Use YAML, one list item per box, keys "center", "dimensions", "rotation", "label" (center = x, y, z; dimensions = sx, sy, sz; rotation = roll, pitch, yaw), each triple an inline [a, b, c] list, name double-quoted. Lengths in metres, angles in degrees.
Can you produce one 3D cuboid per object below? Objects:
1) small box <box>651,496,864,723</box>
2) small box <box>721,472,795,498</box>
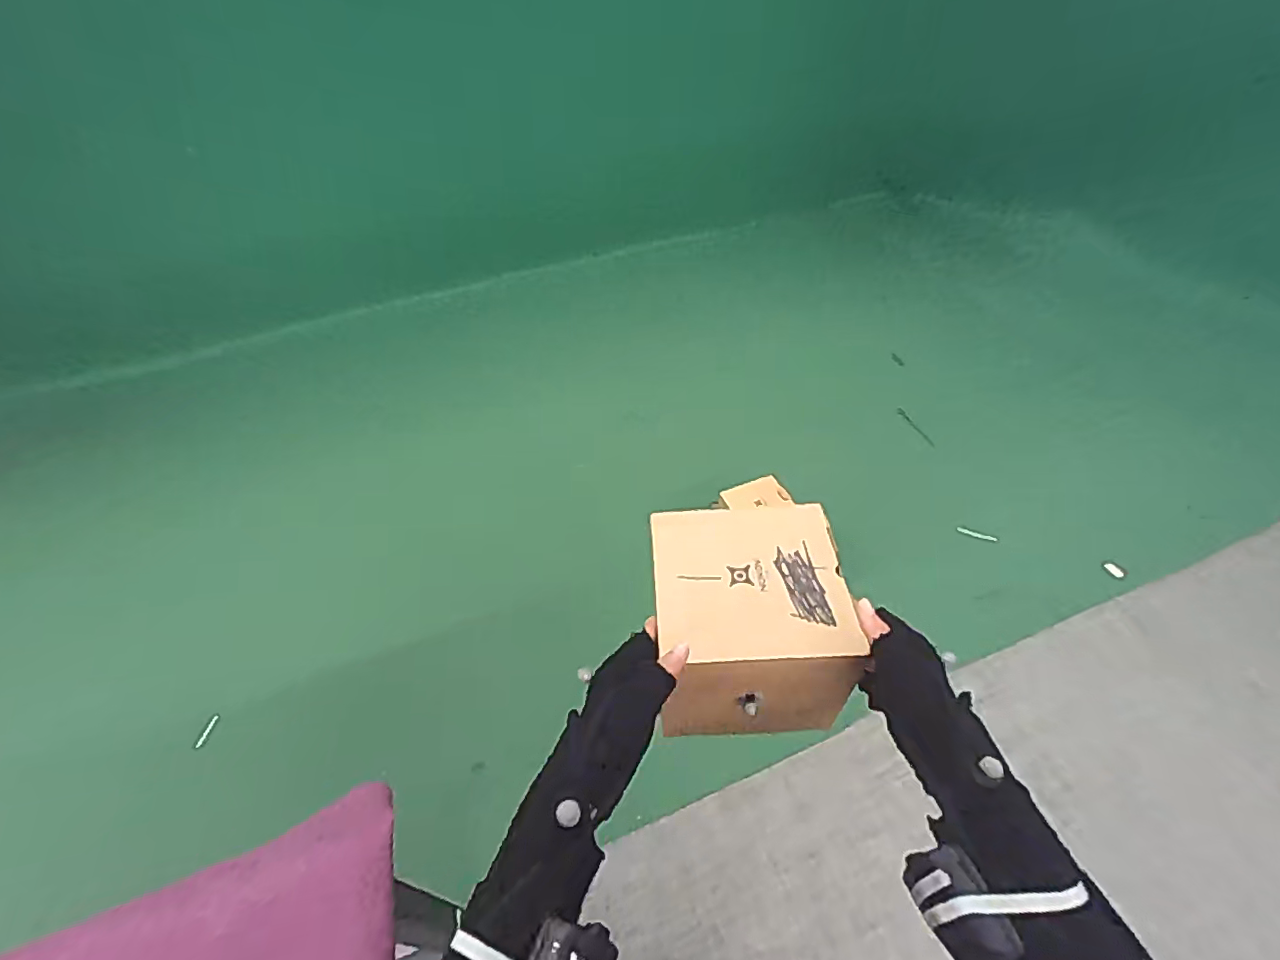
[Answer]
- center: [0.101, 0.133, 0.551]
  dimensions: [0.179, 0.176, 0.168]
  rotation: [0, 45, 3]
  label: "small box"
- center: [0.347, 0.110, 1.576]
  dimensions: [0.179, 0.176, 0.168]
  rotation: [-18, 47, -12]
  label: "small box"
